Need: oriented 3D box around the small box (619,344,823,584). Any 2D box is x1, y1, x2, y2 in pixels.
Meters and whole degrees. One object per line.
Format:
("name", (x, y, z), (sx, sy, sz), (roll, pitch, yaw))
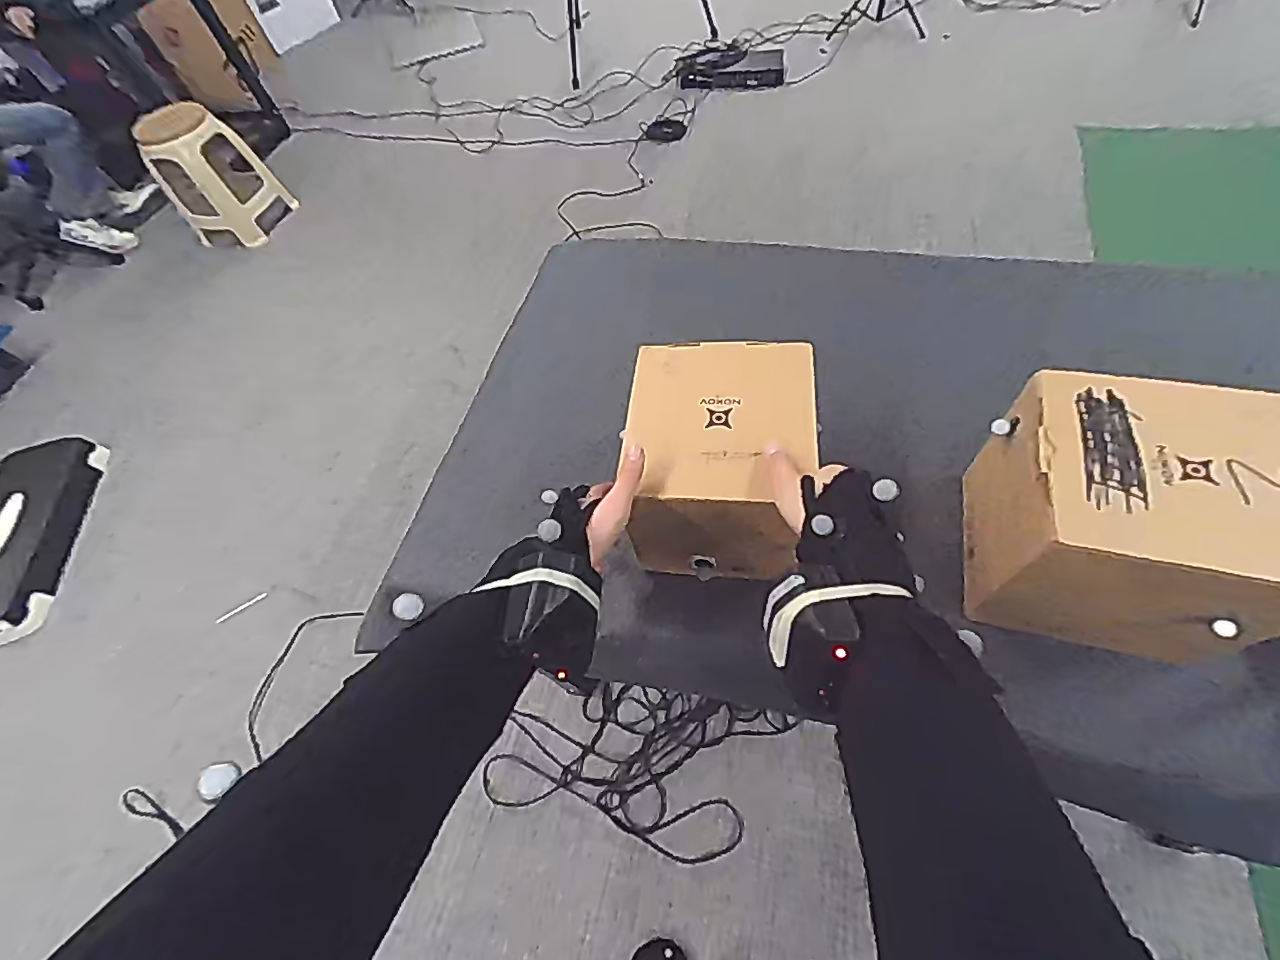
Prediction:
("small box", (0.084, -0.013, 0.541), (0.168, 0.176, 0.179), (1, 59, 11))
